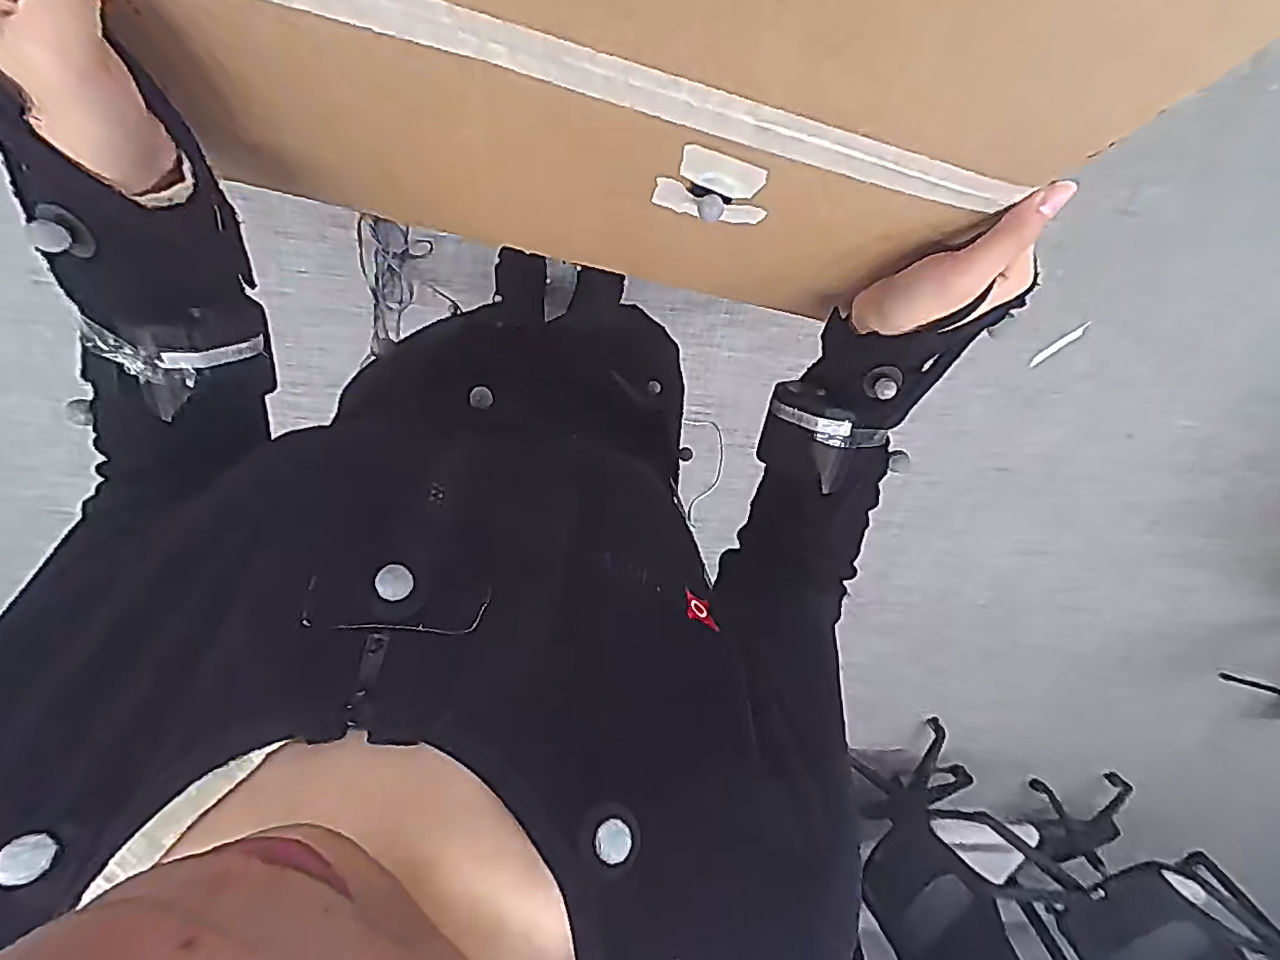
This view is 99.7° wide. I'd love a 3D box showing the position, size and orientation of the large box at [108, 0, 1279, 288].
[{"bbox_3d":[0.011,-0.321,0.207,0.408,0.320,0.320,8,84,-12],"label":"large box"}]
